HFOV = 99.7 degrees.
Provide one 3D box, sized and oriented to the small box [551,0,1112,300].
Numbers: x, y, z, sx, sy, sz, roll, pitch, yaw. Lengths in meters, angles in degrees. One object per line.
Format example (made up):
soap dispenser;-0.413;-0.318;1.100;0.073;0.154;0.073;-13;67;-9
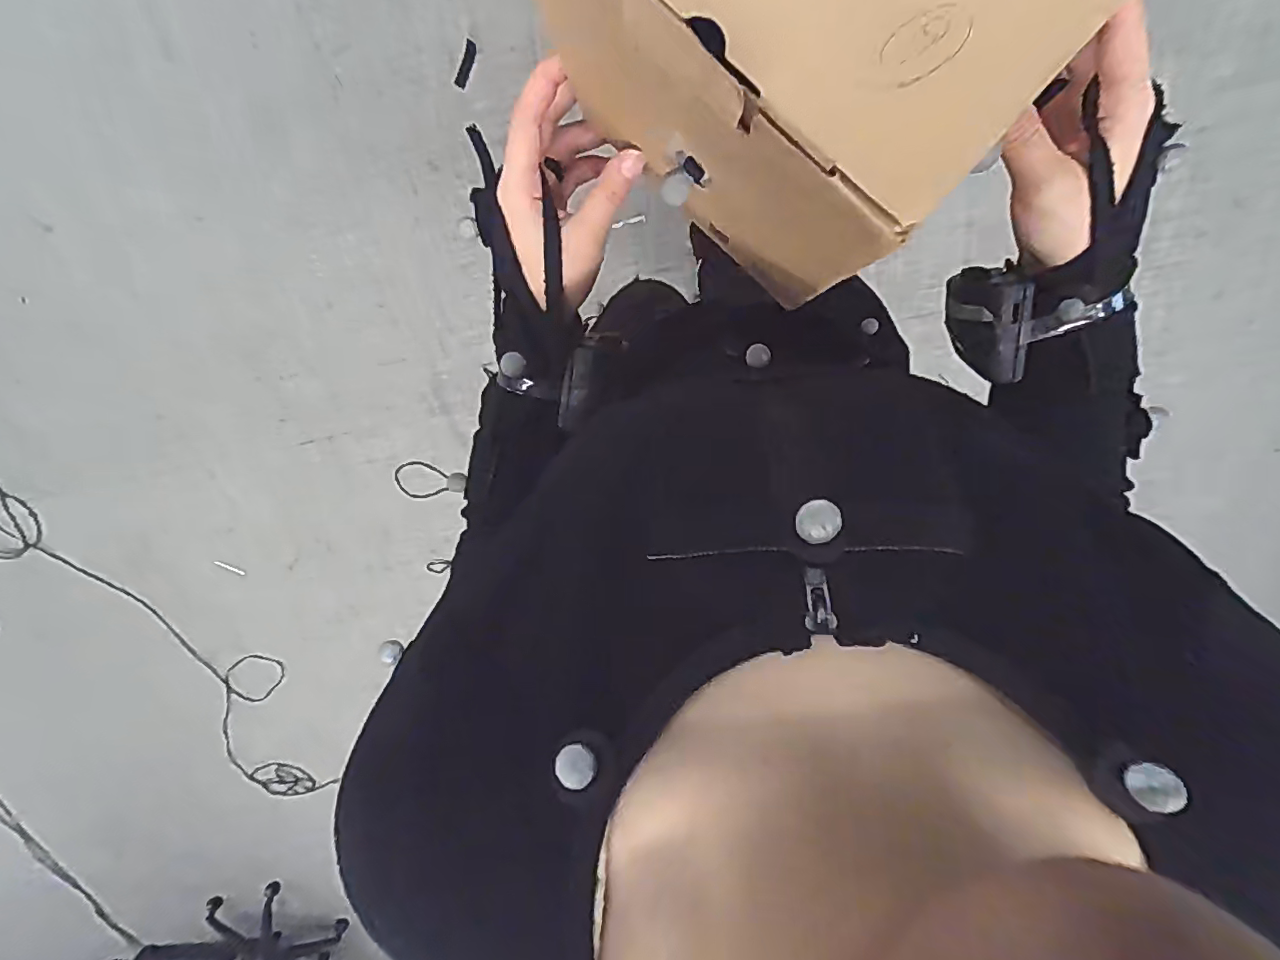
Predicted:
small box;0.082;-0.203;0.234;0.168;0.176;0.179;41;101;-3
